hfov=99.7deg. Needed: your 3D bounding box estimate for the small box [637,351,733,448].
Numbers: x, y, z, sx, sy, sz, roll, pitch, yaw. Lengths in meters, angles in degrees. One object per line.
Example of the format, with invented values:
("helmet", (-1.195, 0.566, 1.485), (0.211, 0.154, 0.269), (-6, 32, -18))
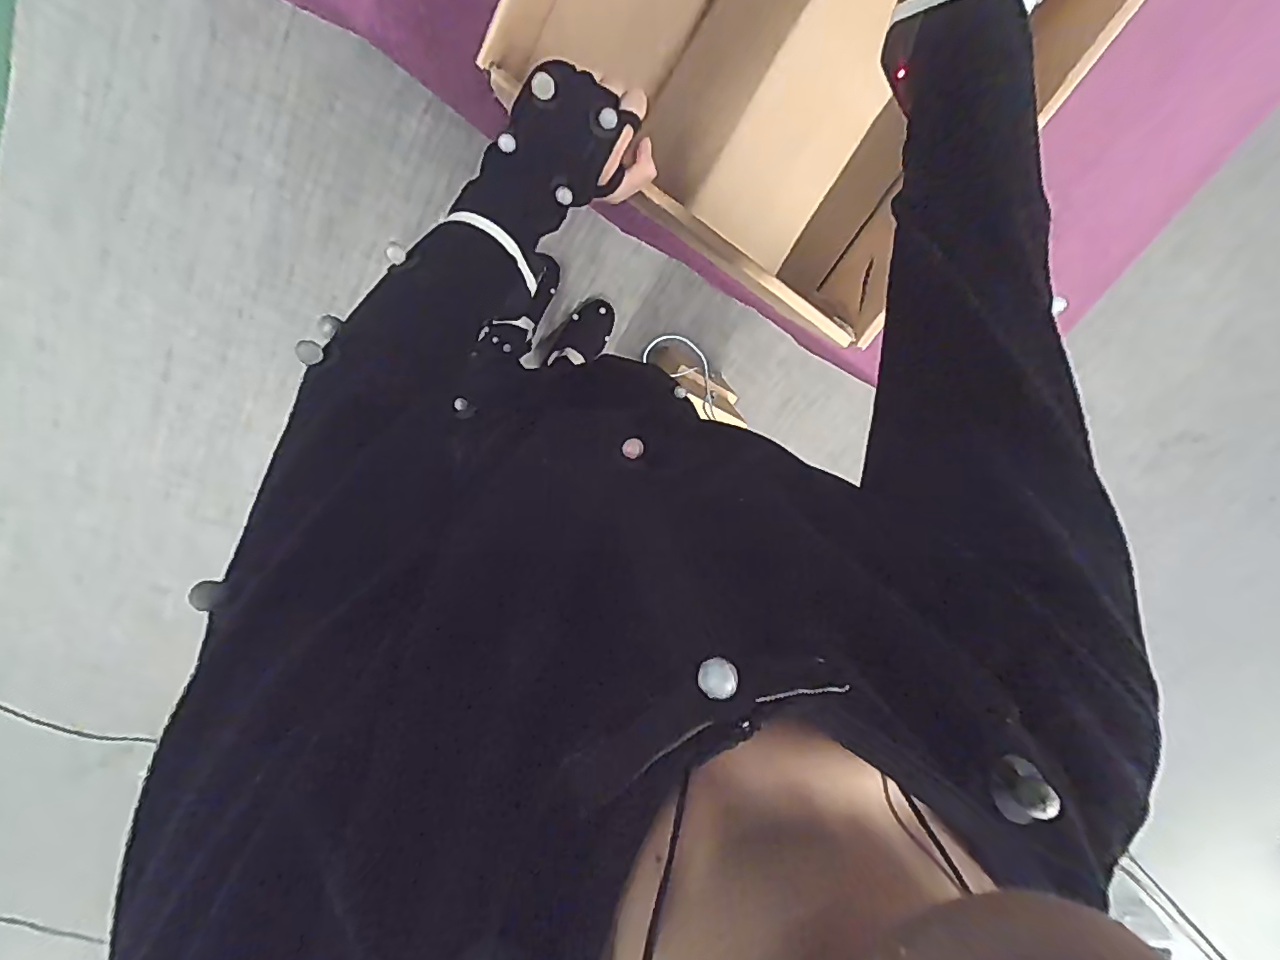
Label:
("small box", (0.110, -0.216, 1.415), (0.179, 0.176, 0.168), (25, 112, -20))
